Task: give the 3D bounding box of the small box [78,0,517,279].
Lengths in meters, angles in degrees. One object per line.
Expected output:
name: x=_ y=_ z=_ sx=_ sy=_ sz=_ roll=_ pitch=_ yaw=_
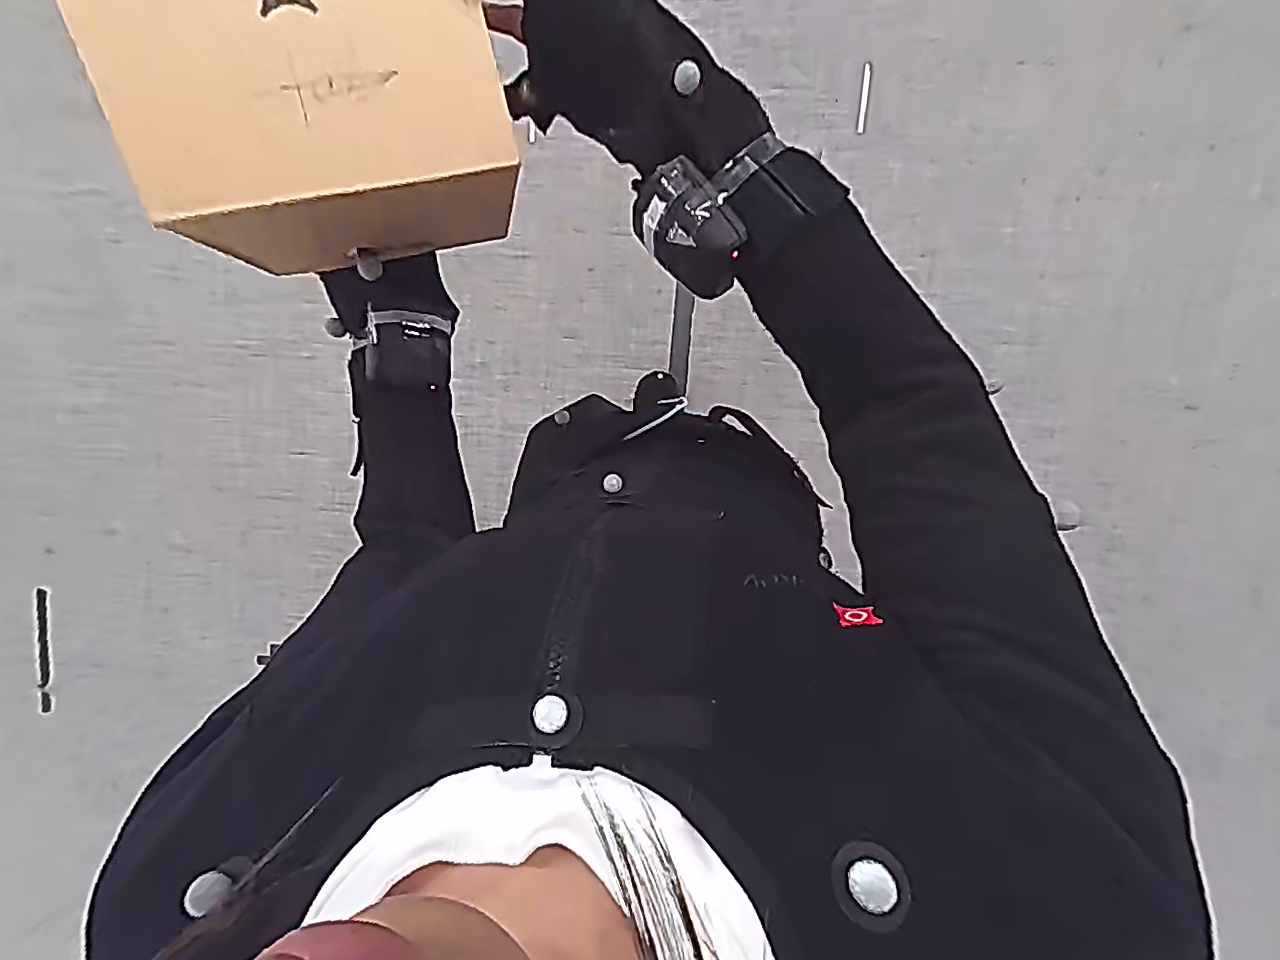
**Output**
small box: x=-0.180 y=-0.234 z=0.321 sx=0.168 sy=0.176 sz=0.179 roll=-16 pitch=106 yaw=-11
